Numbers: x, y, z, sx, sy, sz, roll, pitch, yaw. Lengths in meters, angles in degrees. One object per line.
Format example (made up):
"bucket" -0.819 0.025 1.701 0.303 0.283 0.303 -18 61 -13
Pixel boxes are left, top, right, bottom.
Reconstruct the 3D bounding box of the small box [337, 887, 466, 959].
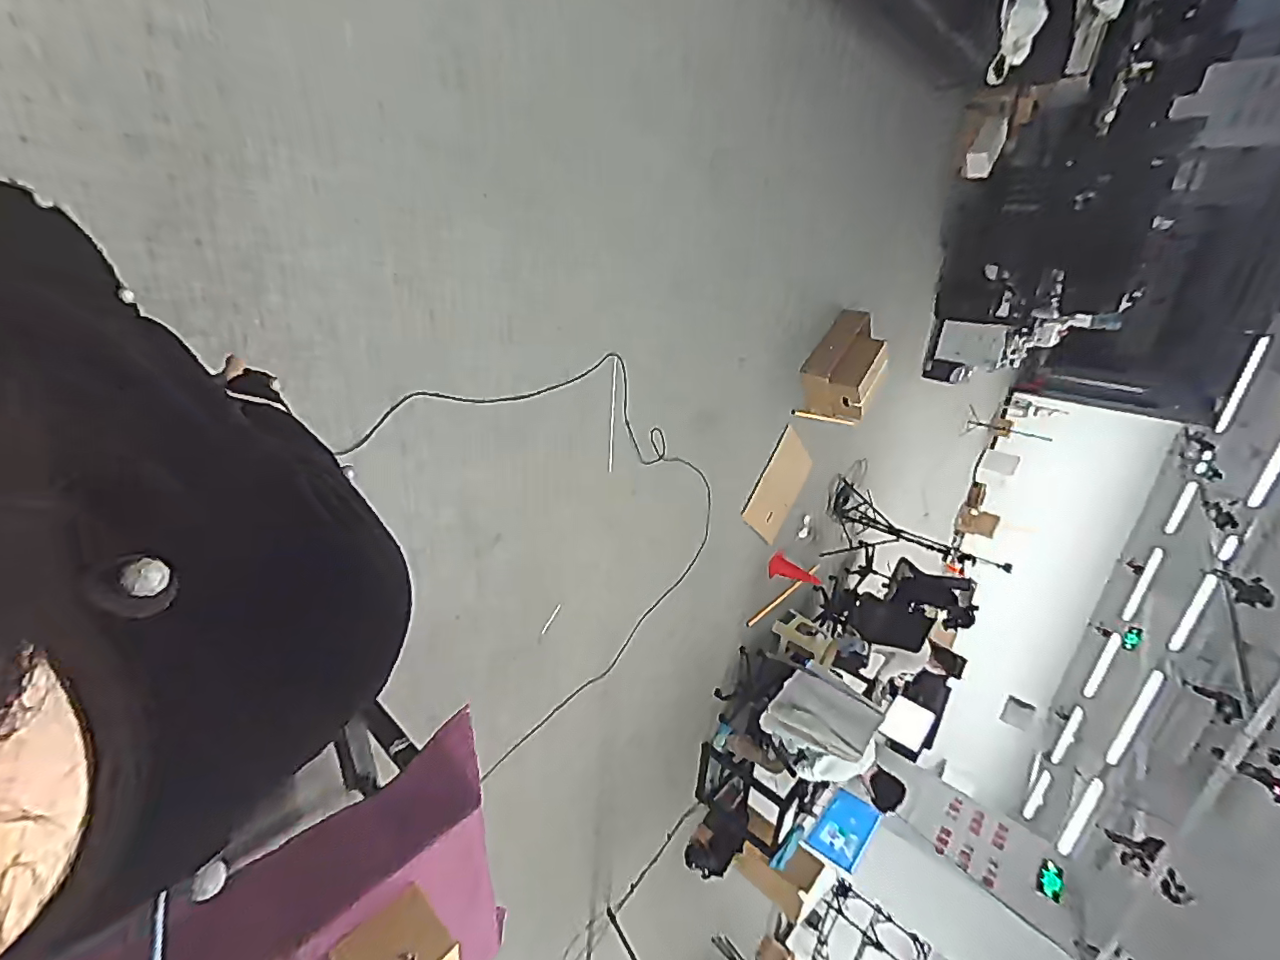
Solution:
"small box" -0.465 0.968 1.066 0.179 0.176 0.168 -19 122 -45
